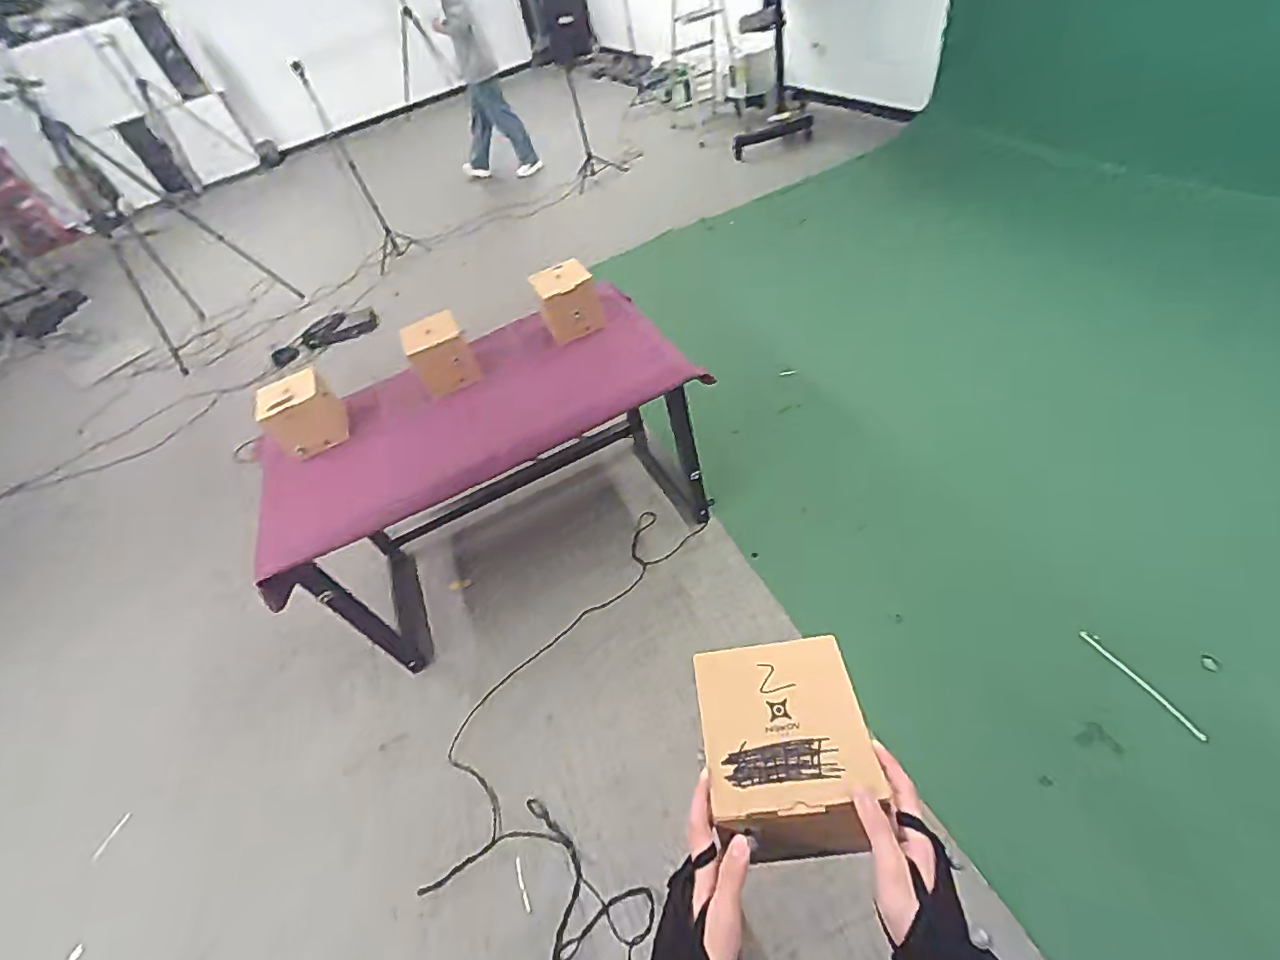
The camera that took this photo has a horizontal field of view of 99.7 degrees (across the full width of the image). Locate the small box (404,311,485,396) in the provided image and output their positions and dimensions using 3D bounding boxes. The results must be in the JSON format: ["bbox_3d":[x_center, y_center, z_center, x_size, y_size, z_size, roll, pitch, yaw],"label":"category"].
[{"bbox_3d":[-0.594,-0.379,1.653,0.168,0.176,0.179,-27,47,-8],"label":"small box"}]

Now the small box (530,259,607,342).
[{"bbox_3d":[-0.221,-0.557,1.698,0.168,0.176,0.179,-26,48,-7],"label":"small box"}]

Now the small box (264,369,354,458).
[{"bbox_3d":[-0.967,-0.187,1.590,0.168,0.176,0.179,-27,47,-9],"label":"small box"}]
